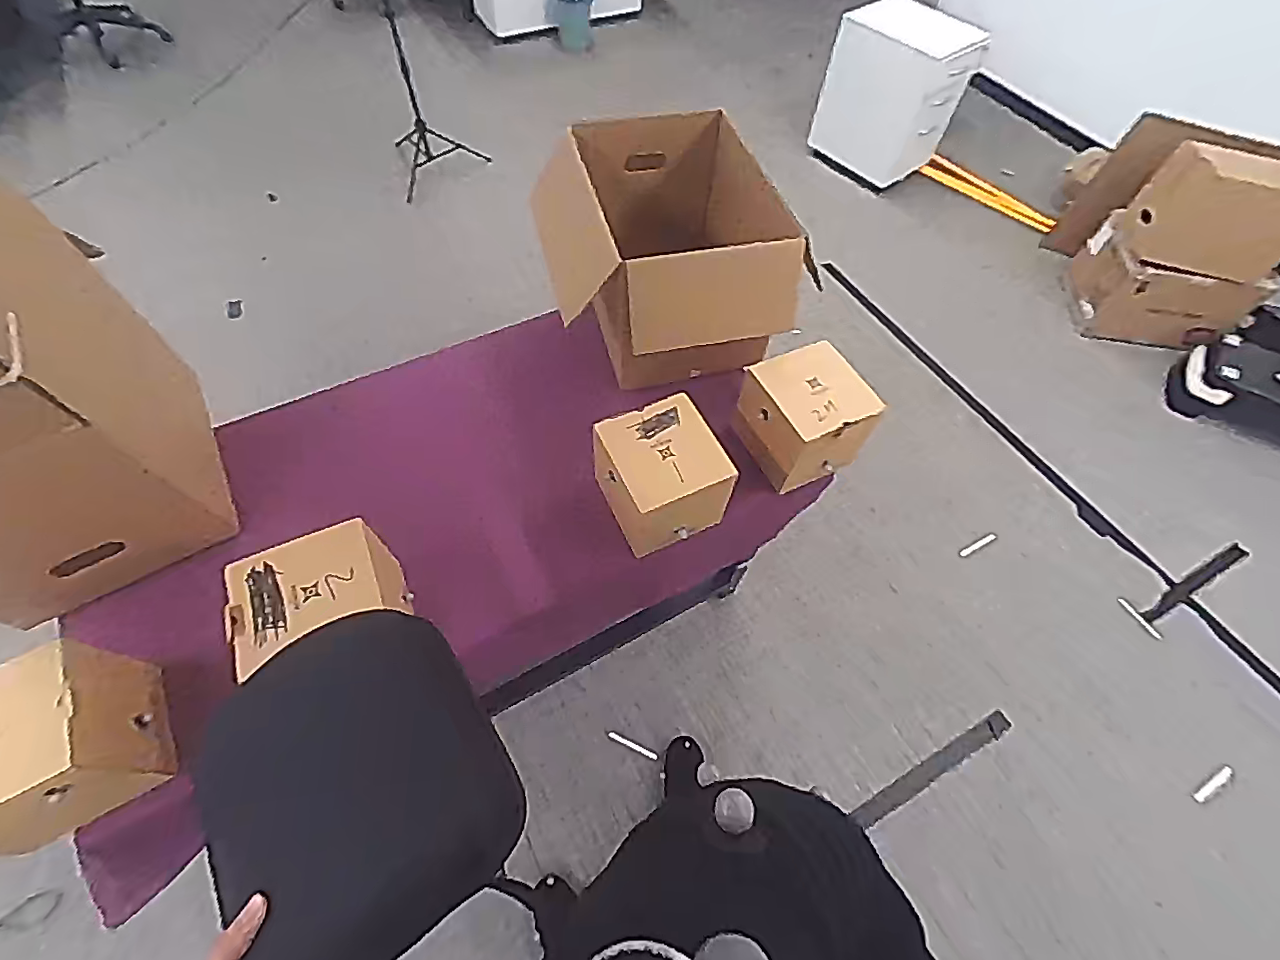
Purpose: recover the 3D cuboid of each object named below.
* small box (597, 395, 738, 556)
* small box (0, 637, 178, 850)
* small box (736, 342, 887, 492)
[{"bbox_3d":[0.035,-0.004,0.894,0.168,0.176,0.179,-22,63,-14],"label":"small box"},{"bbox_3d":[-0.730,0.328,0.667,0.179,0.176,0.168,-27,64,-18],"label":"small box"},{"bbox_3d":[0.291,-0.108,0.964,0.168,0.176,0.179,-21,62,-13],"label":"small box"}]
